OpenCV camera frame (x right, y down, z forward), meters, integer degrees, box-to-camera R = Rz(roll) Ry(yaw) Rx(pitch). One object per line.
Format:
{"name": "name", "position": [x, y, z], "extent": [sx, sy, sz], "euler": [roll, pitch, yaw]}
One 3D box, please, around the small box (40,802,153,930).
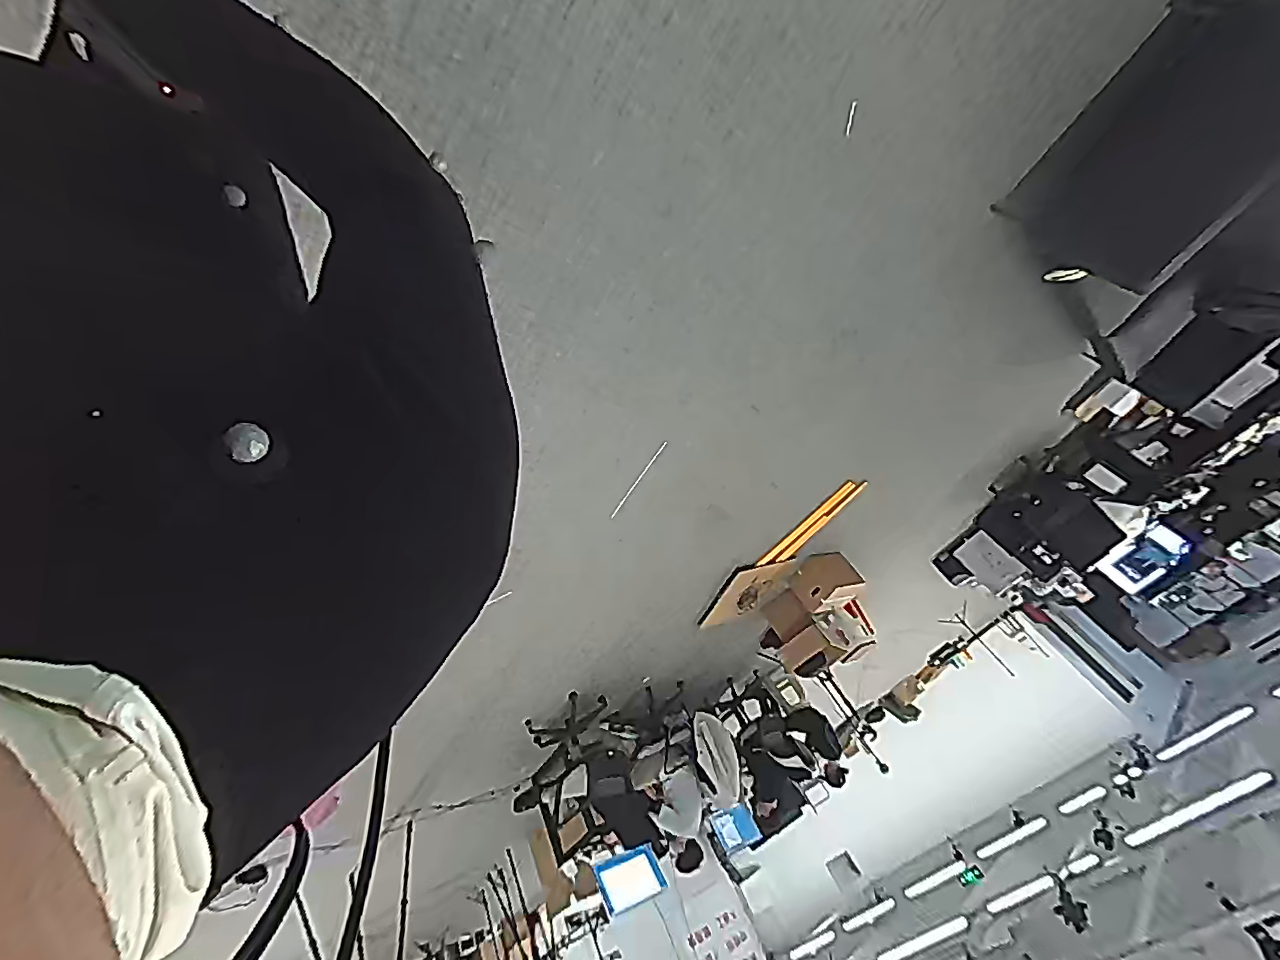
{"name": "small box", "position": [-1.263, 0.892, 1.263], "extent": [0.168, 0.176, 0.179], "euler": [8, 127, -42]}
